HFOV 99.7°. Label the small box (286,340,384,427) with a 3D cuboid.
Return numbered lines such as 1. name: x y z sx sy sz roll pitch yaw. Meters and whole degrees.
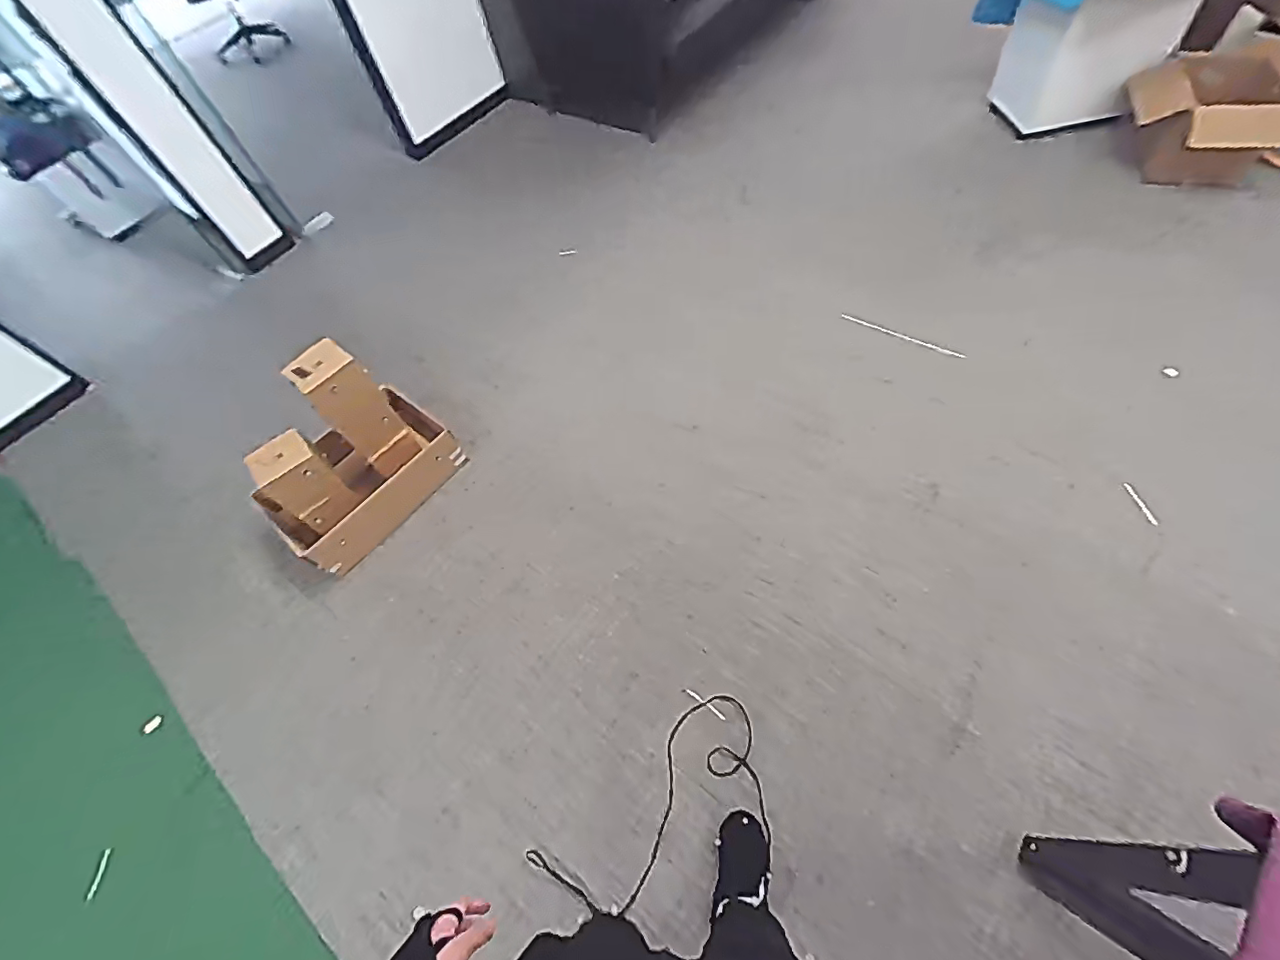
1. small box: -0.949 -0.299 1.695 0.168 0.176 0.179 34 69 26
